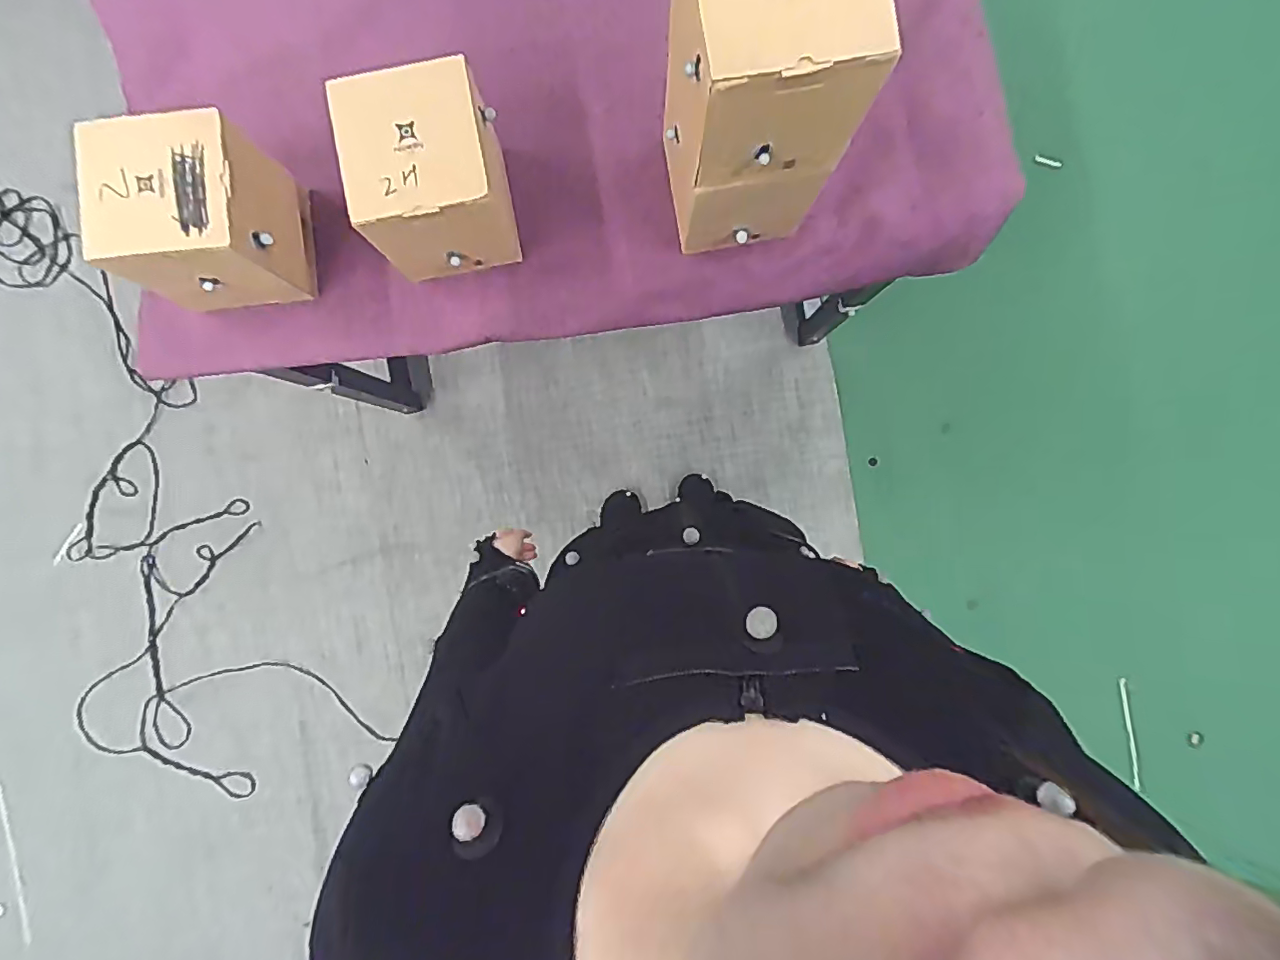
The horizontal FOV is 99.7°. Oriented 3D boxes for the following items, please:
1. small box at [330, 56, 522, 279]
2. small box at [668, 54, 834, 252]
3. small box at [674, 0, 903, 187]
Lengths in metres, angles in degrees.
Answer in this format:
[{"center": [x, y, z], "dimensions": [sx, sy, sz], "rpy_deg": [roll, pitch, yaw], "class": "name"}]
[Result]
[{"center": [-0.263, -0.389, 0.702], "dimensions": [0.168, 0.176, 0.179], "rpy_deg": [-11, 89, 1], "class": "small box"}, {"center": [0.130, -0.425, 0.701], "dimensions": [0.168, 0.176, 0.179], "rpy_deg": [-9, 90, 1], "class": "small box"}, {"center": [0.130, -0.431, 0.539], "dimensions": [0.168, 0.176, 0.179], "rpy_deg": [-10, 90, 1], "class": "small box"}]
